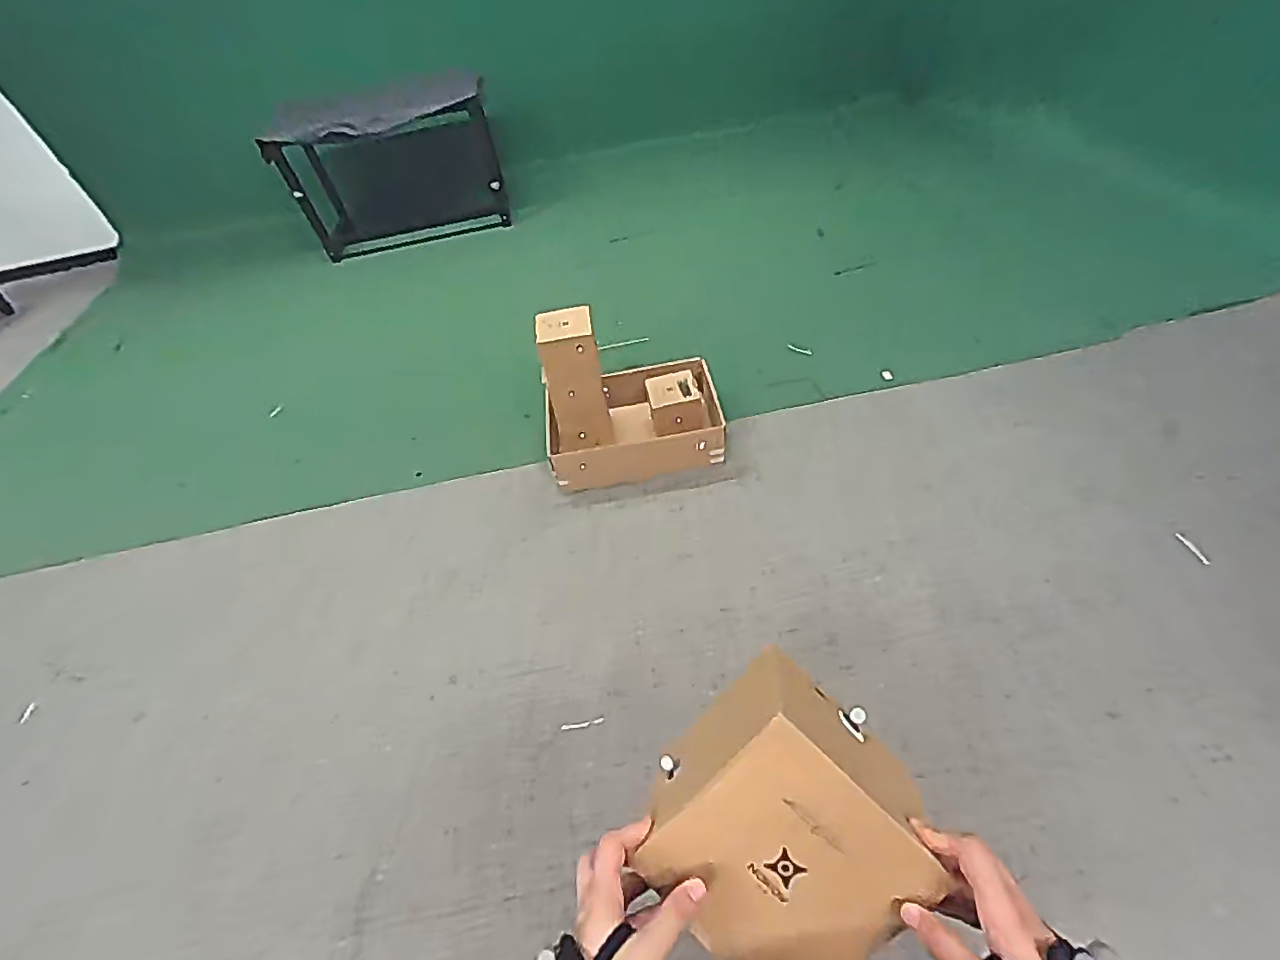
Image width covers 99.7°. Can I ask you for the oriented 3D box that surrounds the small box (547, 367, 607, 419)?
[{"bbox_3d":[-0.217,-0.330,1.867,0.179,0.176,0.168,-10,50,0],"label":"small box"}]

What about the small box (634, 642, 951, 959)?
[{"bbox_3d":[0.124,0.281,0.483,0.168,0.176,0.179,42,99,6],"label":"small box"}]

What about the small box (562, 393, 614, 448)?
[{"bbox_3d":[-0.194,-0.233,1.998,0.168,0.176,0.179,-11,50,0],"label":"small box"}]

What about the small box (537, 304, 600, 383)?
[{"bbox_3d":[-0.227,-0.436,1.740,0.179,0.176,0.168,-10,49,0],"label":"small box"}]
